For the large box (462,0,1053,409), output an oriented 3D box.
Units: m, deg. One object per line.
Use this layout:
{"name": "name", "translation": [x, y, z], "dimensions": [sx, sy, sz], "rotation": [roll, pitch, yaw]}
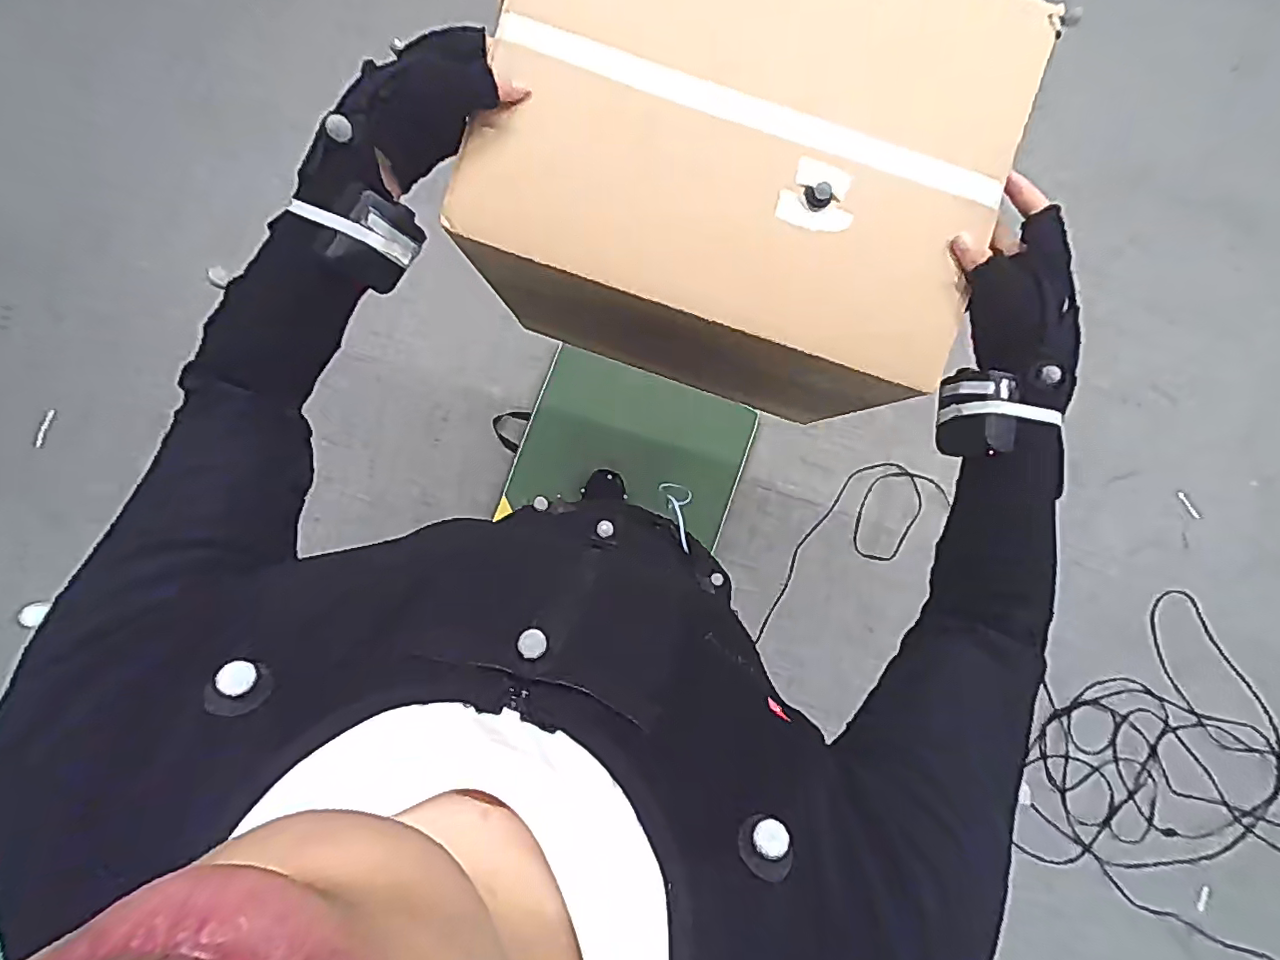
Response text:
{"name": "large box", "translation": [0.088, -0.292, 0.568], "dimensions": [0.408, 0.320, 0.320], "rotation": [18, 92, -2]}
